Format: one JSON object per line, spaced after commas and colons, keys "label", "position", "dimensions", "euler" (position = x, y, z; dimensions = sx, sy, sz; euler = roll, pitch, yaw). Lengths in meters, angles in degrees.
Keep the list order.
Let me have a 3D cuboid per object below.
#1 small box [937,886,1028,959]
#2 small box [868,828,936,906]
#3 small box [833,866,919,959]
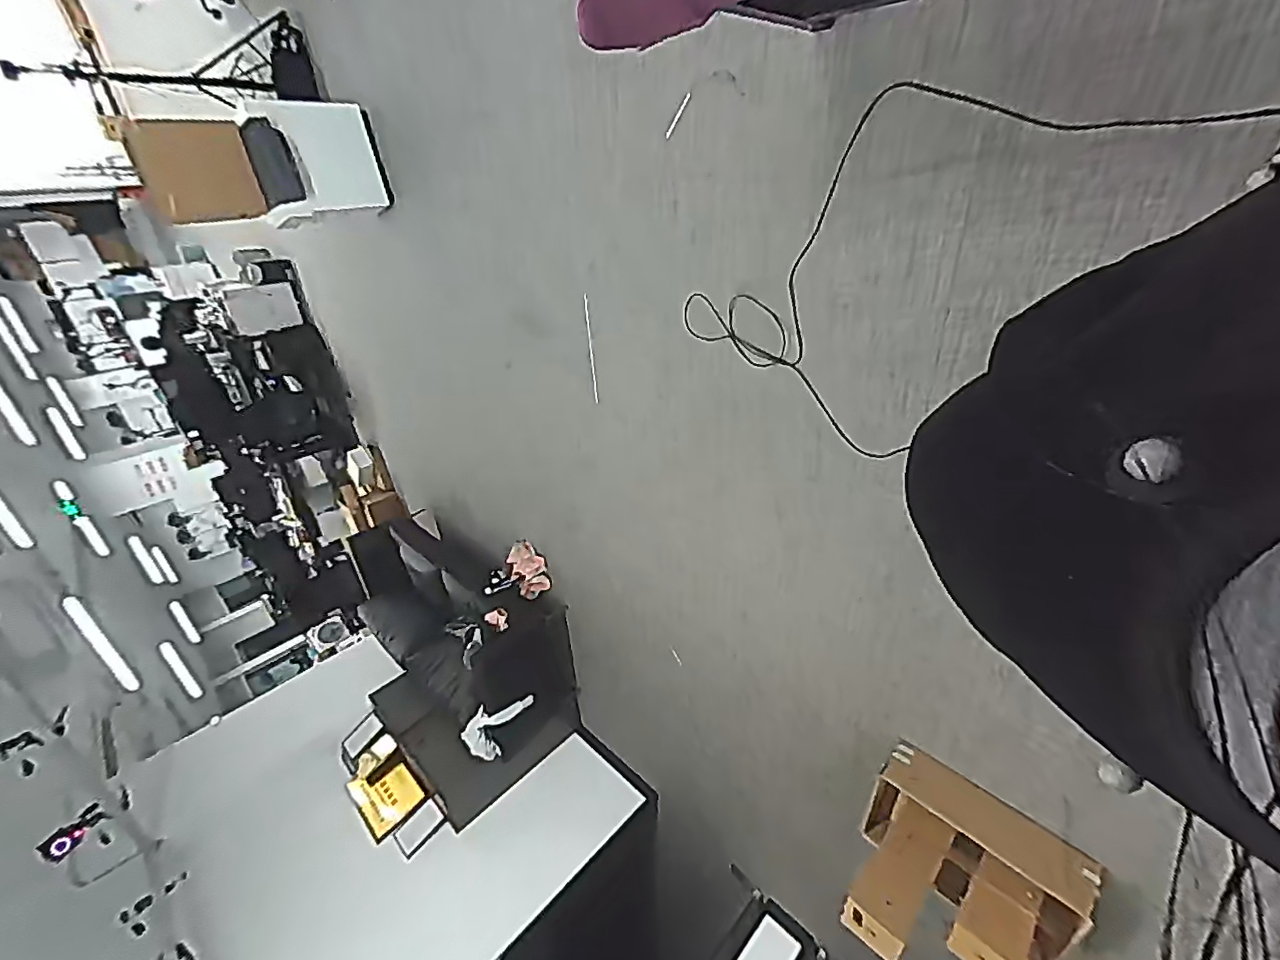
{"label": "small box", "position": [1.039, 1.395, 1.637], "dimensions": [0.179, 0.176, 0.168], "euler": [25, 128, 41]}
{"label": "small box", "position": [0.860, 1.313, 1.797], "dimensions": [0.168, 0.176, 0.179], "euler": [26, 129, 38]}
{"label": "small box", "position": [0.740, 1.365, 1.698], "dimensions": [0.179, 0.176, 0.168], "euler": [26, 129, 37]}
